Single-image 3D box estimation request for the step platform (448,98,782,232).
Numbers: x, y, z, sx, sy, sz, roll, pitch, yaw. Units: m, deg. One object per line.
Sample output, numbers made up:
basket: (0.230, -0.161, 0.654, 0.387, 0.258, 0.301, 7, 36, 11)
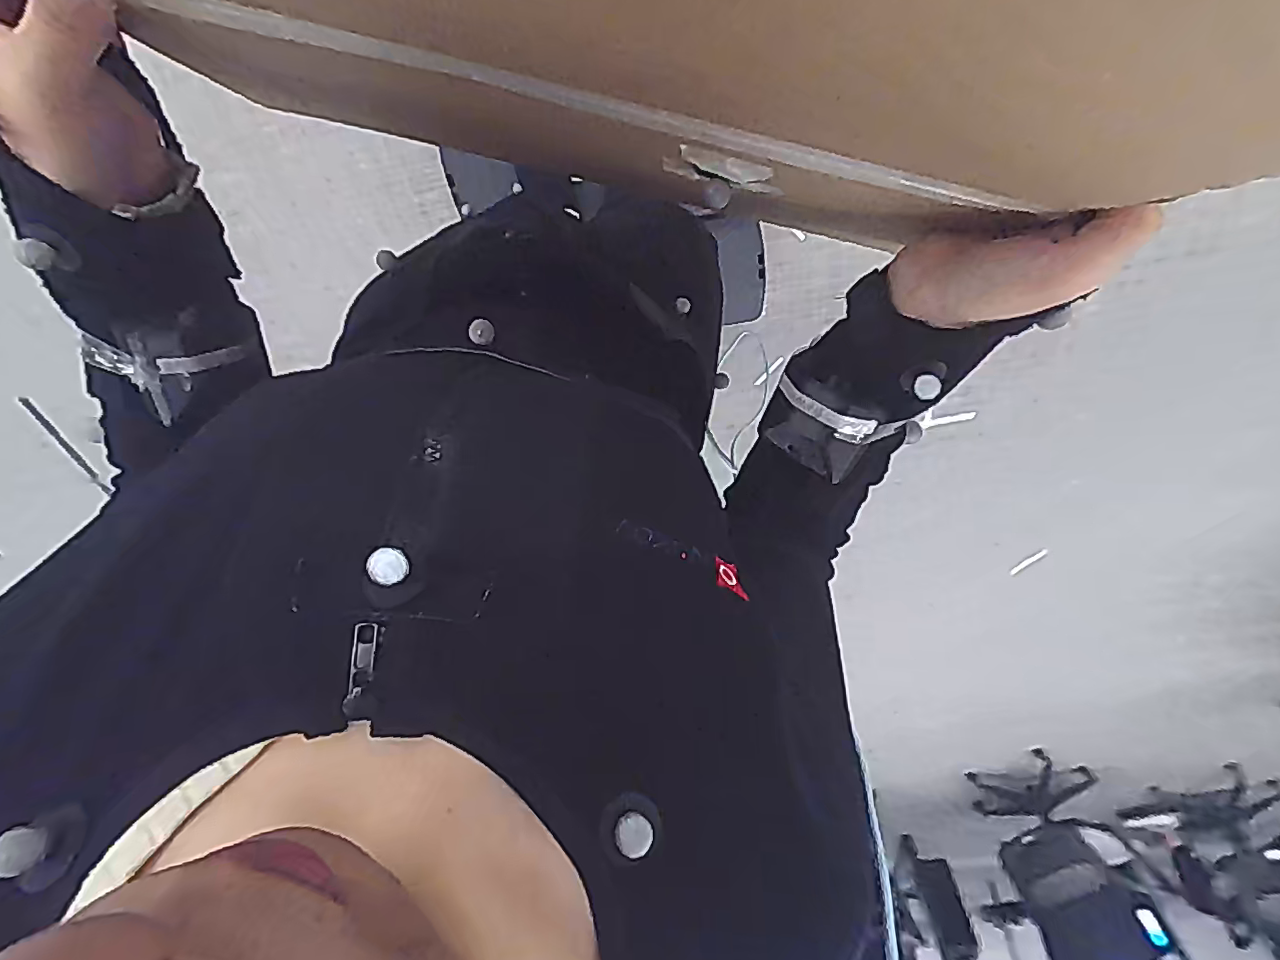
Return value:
step platform: (-0.040, -0.709, 1.137, 0.684, 0.204, 0.286, -4, 127, 2)
